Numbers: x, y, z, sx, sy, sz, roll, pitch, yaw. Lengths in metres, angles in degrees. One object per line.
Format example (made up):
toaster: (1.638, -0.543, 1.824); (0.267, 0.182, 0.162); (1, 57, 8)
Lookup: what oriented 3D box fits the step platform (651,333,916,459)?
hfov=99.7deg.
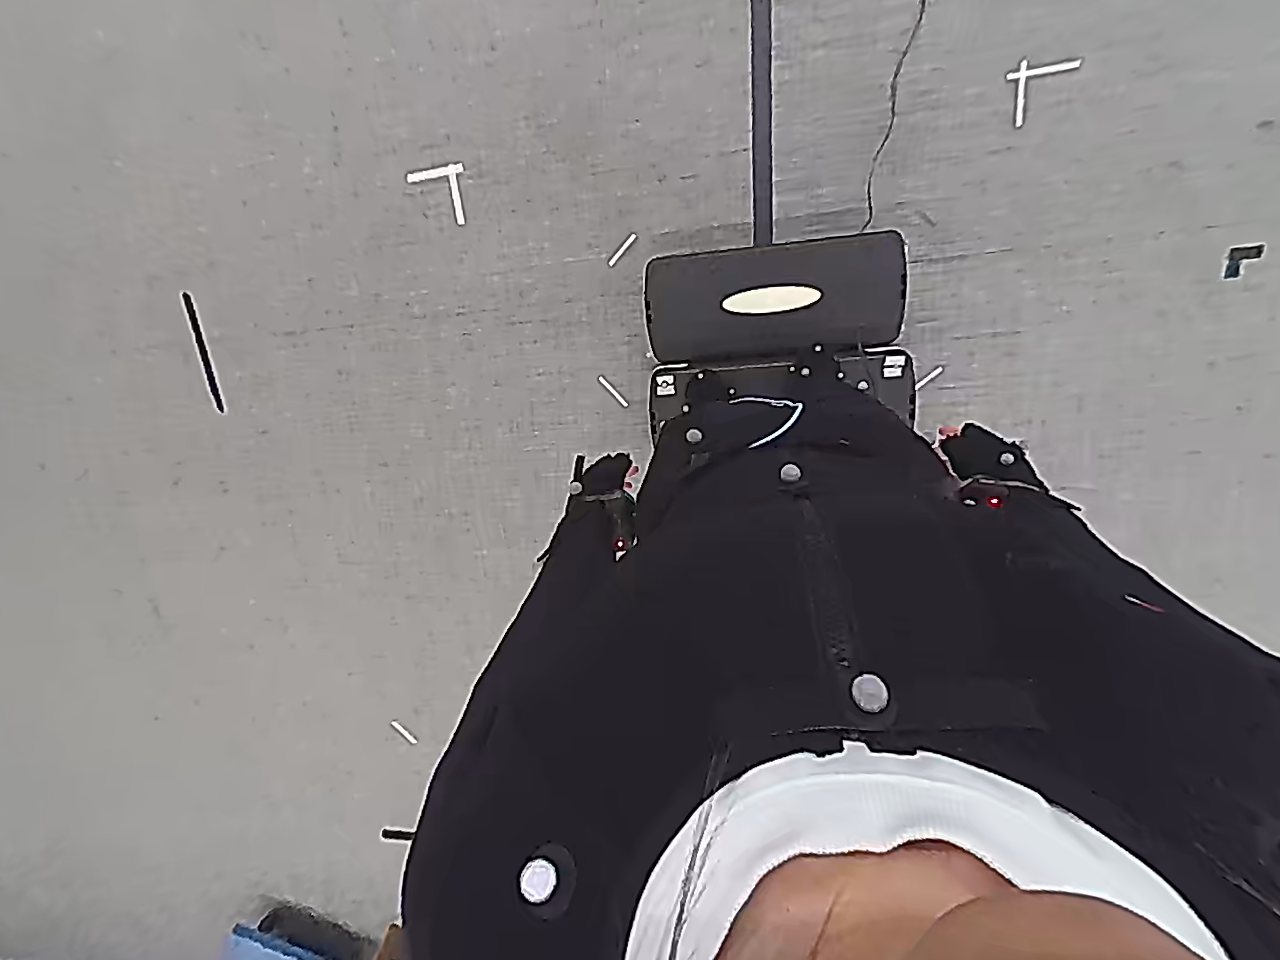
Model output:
step platform: (0.371, -0.223, 1.472); (0.684, 0.204, 0.286); (-3, 104, 11)
